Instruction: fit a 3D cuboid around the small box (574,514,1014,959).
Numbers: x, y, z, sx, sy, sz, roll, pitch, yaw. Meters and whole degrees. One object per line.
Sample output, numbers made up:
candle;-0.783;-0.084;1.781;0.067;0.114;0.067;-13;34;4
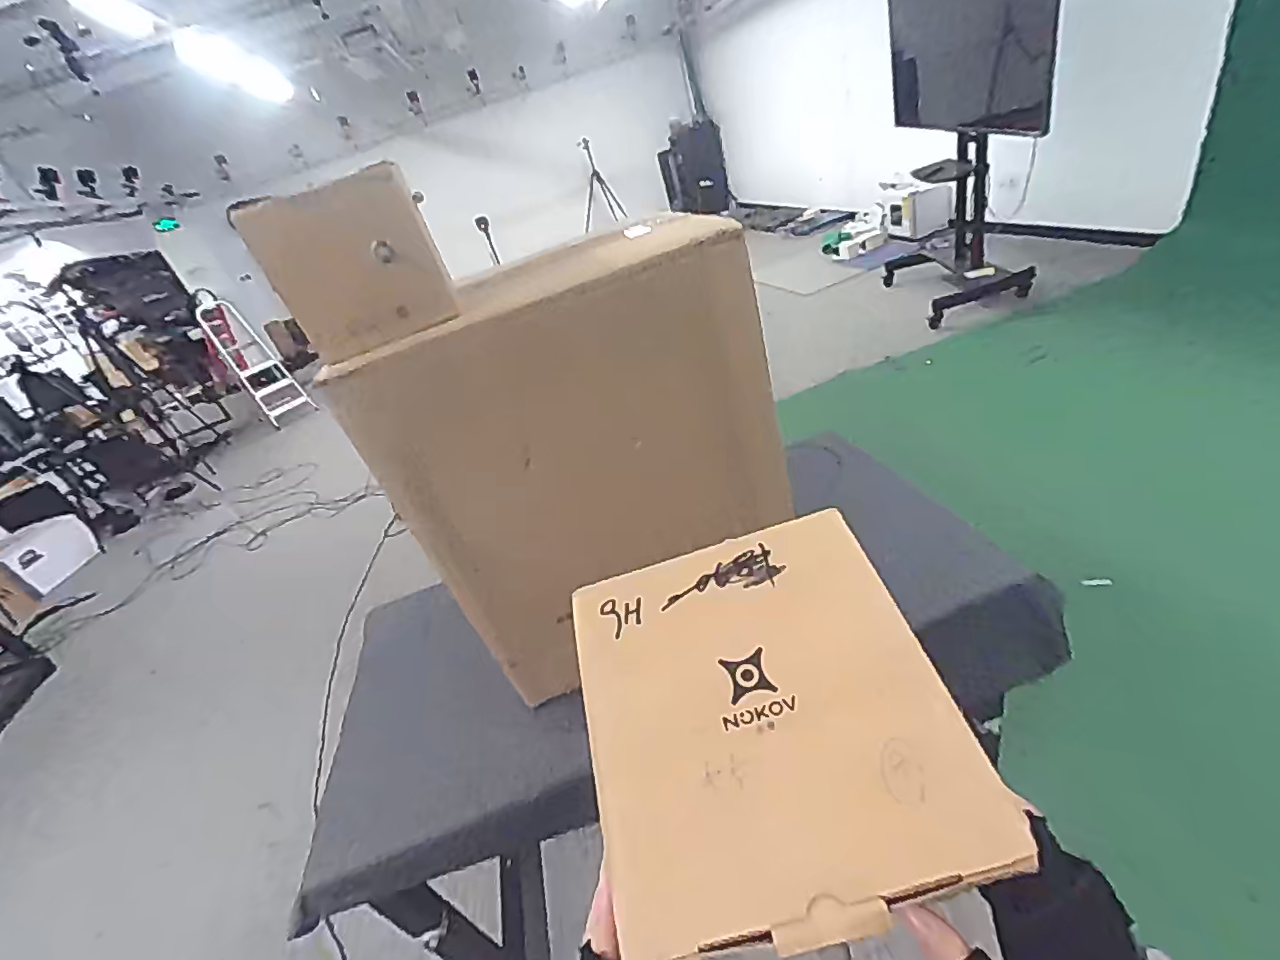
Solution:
small box;0.073;0.155;0.327;0.168;0.176;0.179;-18;49;3

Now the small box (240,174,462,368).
small box;-0.329;-0.254;0.660;0.168;0.176;0.179;-23;32;-8
